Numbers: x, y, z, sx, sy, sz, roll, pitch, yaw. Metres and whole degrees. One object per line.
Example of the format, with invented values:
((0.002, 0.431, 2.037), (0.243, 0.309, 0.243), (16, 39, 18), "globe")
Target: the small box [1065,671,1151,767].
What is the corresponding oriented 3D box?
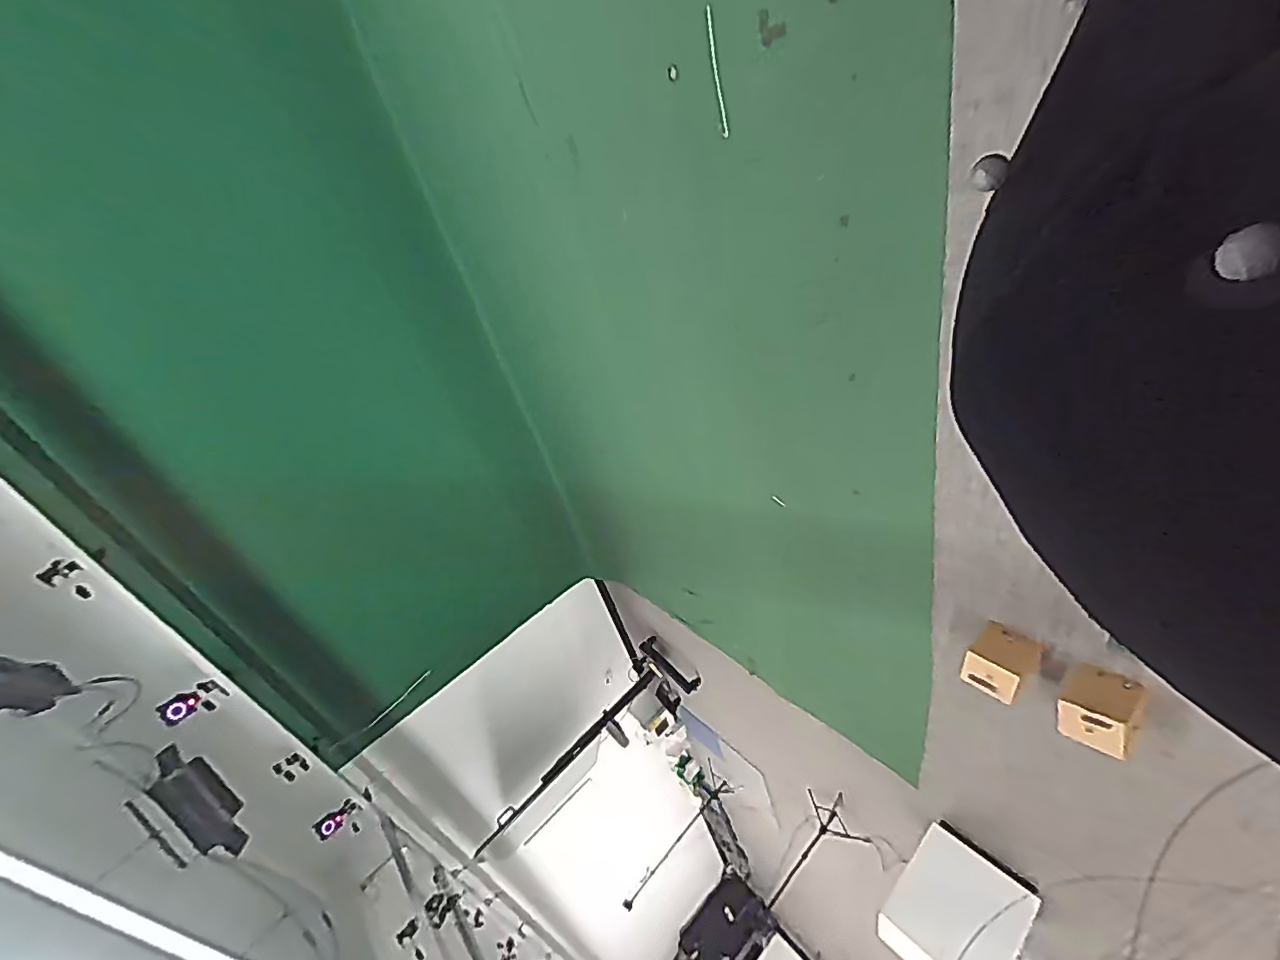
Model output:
((1.447, 0.730, 1.674), (0.168, 0.176, 0.179), (16, 135, 53), "small box")
